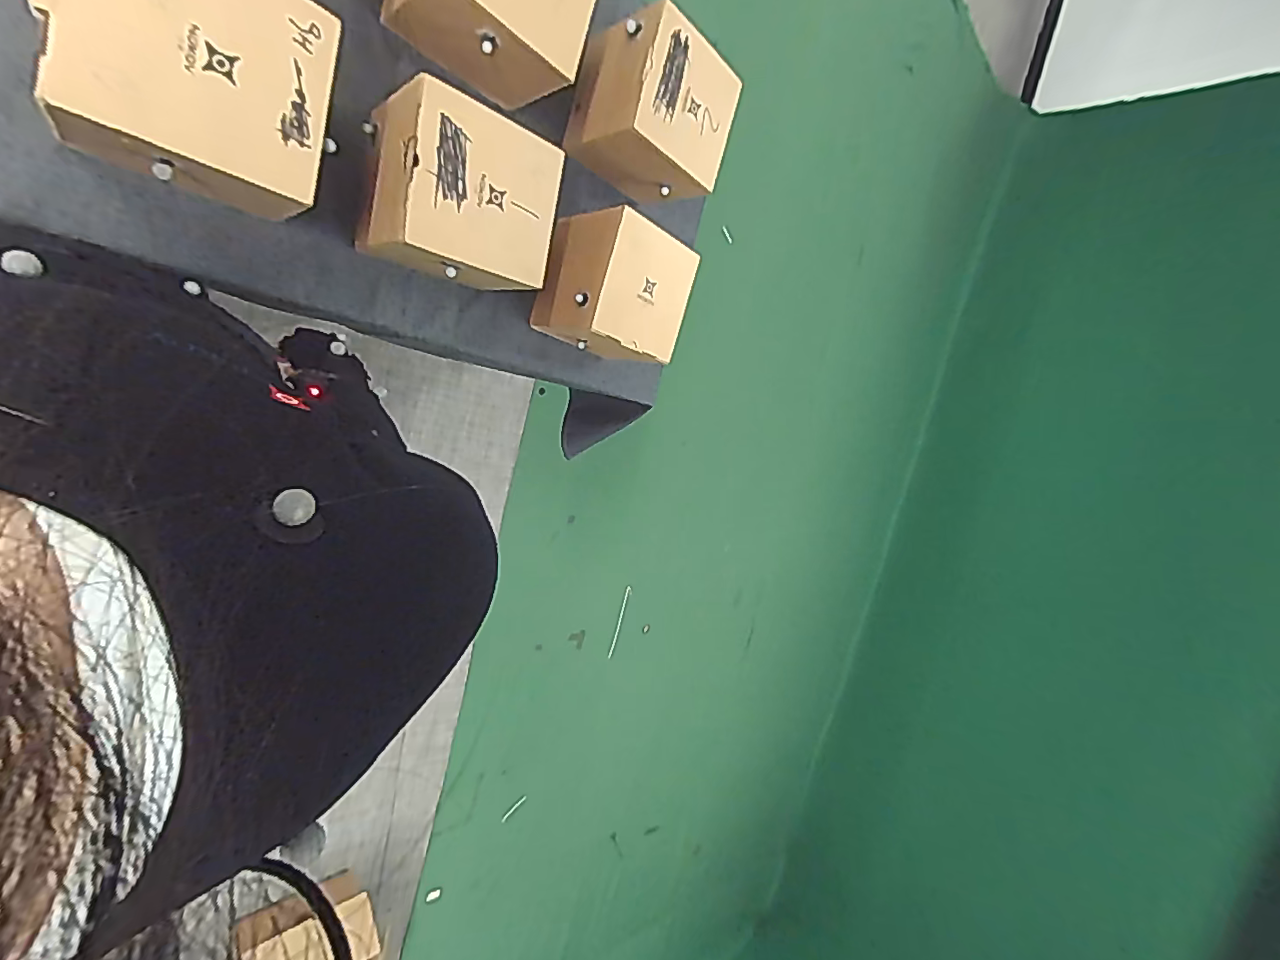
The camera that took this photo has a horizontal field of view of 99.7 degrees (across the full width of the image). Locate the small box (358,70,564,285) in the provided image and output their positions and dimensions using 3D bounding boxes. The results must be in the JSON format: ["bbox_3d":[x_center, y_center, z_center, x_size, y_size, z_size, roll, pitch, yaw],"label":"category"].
[{"bbox_3d":[-0.222,-0.341,0.657,0.179,0.176,0.168,3,102,-45],"label":"small box"}]

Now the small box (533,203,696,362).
[{"bbox_3d":[-0.044,-0.299,0.844,0.168,0.176,0.179,12,96,-45],"label":"small box"}]
